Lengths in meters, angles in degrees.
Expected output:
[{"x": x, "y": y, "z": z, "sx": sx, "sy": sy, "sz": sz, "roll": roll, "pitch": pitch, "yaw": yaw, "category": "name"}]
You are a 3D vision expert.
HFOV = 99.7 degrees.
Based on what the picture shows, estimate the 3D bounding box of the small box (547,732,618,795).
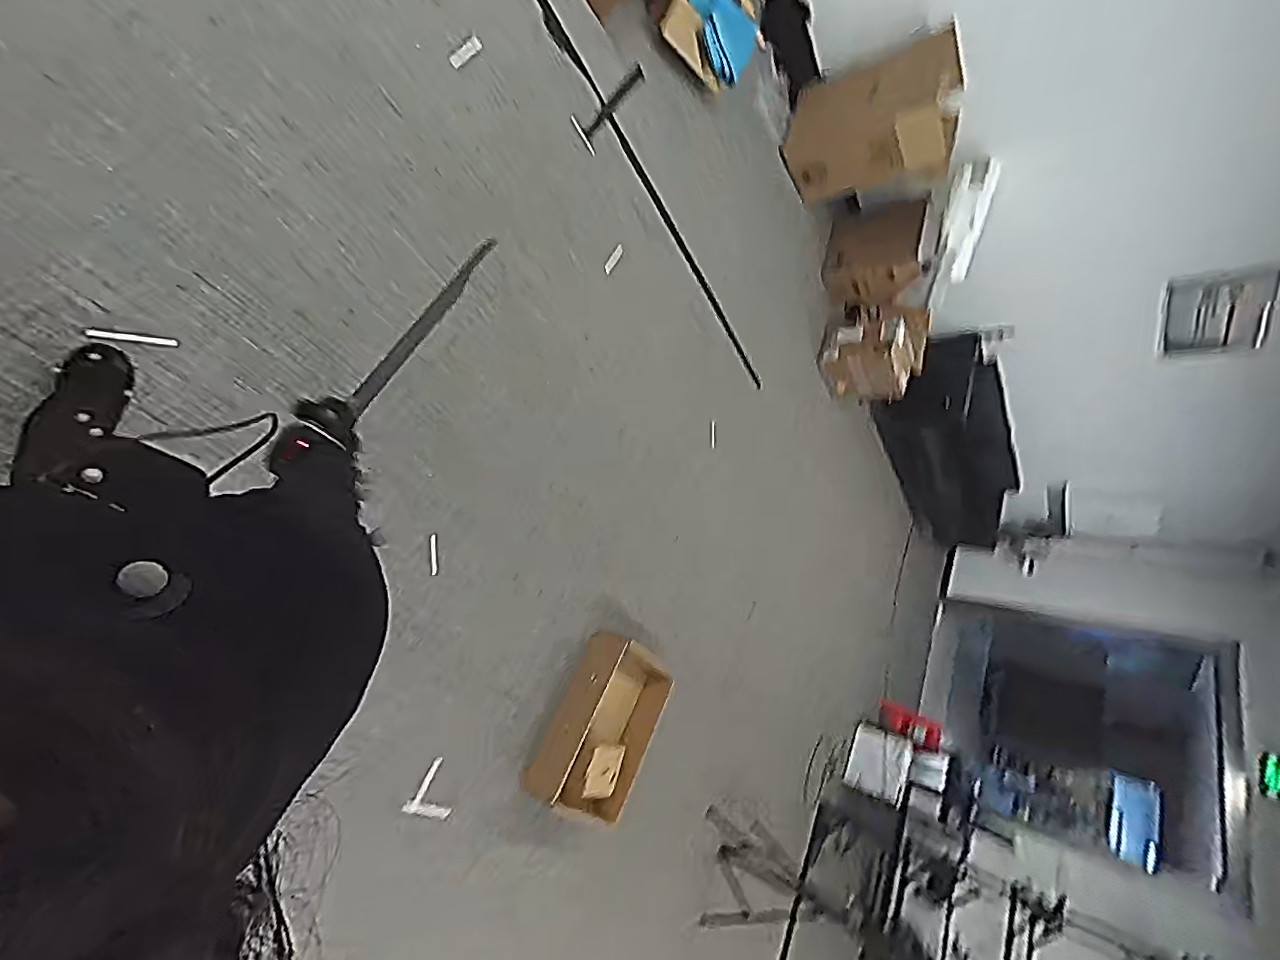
[{"x": -0.218, "y": 1.051, "z": 2.010, "sx": 0.179, "sy": 0.176, "sz": 0.168, "roll": 35, "pitch": 65, "yaw": -45, "category": "small box"}]
